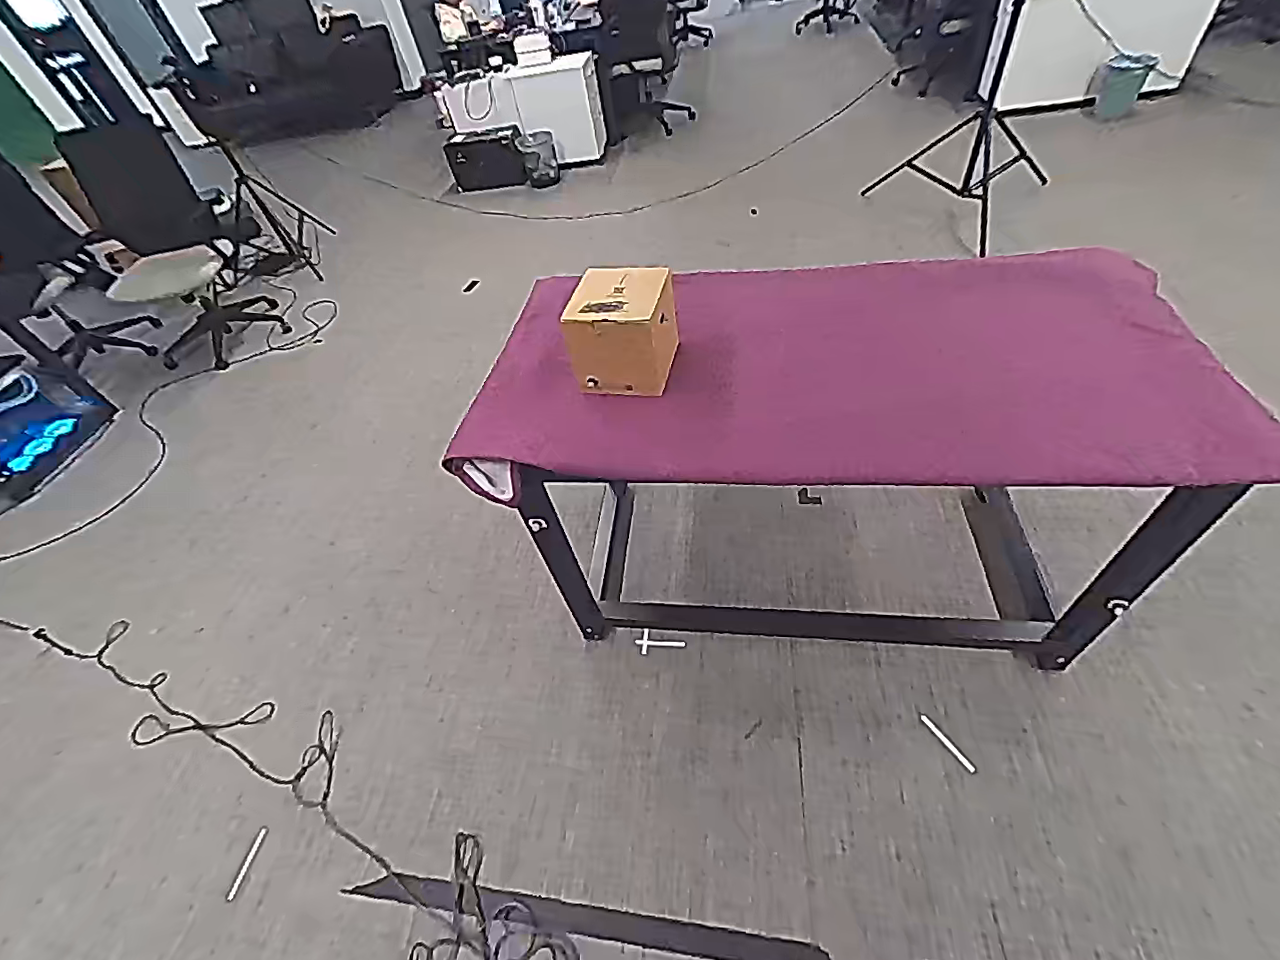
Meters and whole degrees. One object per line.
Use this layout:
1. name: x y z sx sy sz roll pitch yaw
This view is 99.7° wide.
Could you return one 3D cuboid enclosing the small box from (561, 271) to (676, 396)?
1. small box: -0.031 -0.276 1.033 0.168 0.176 0.179 5 50 15
